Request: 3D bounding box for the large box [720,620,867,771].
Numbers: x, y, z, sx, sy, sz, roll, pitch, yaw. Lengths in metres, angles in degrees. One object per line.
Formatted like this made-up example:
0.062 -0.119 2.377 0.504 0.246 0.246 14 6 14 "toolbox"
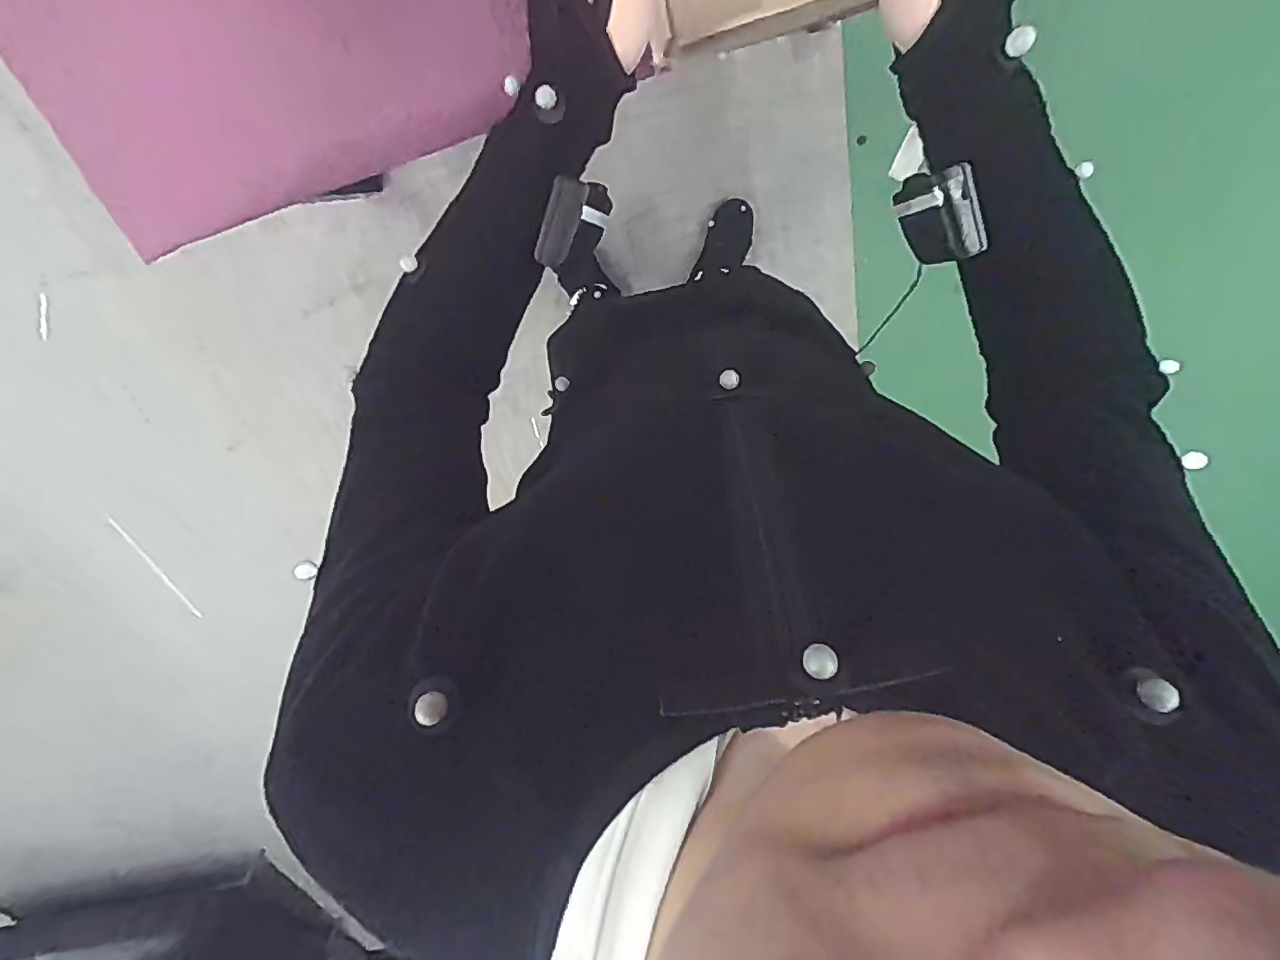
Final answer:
0.568 0.824 2.077 0.320 0.320 0.408 39 111 -20 "large box"
